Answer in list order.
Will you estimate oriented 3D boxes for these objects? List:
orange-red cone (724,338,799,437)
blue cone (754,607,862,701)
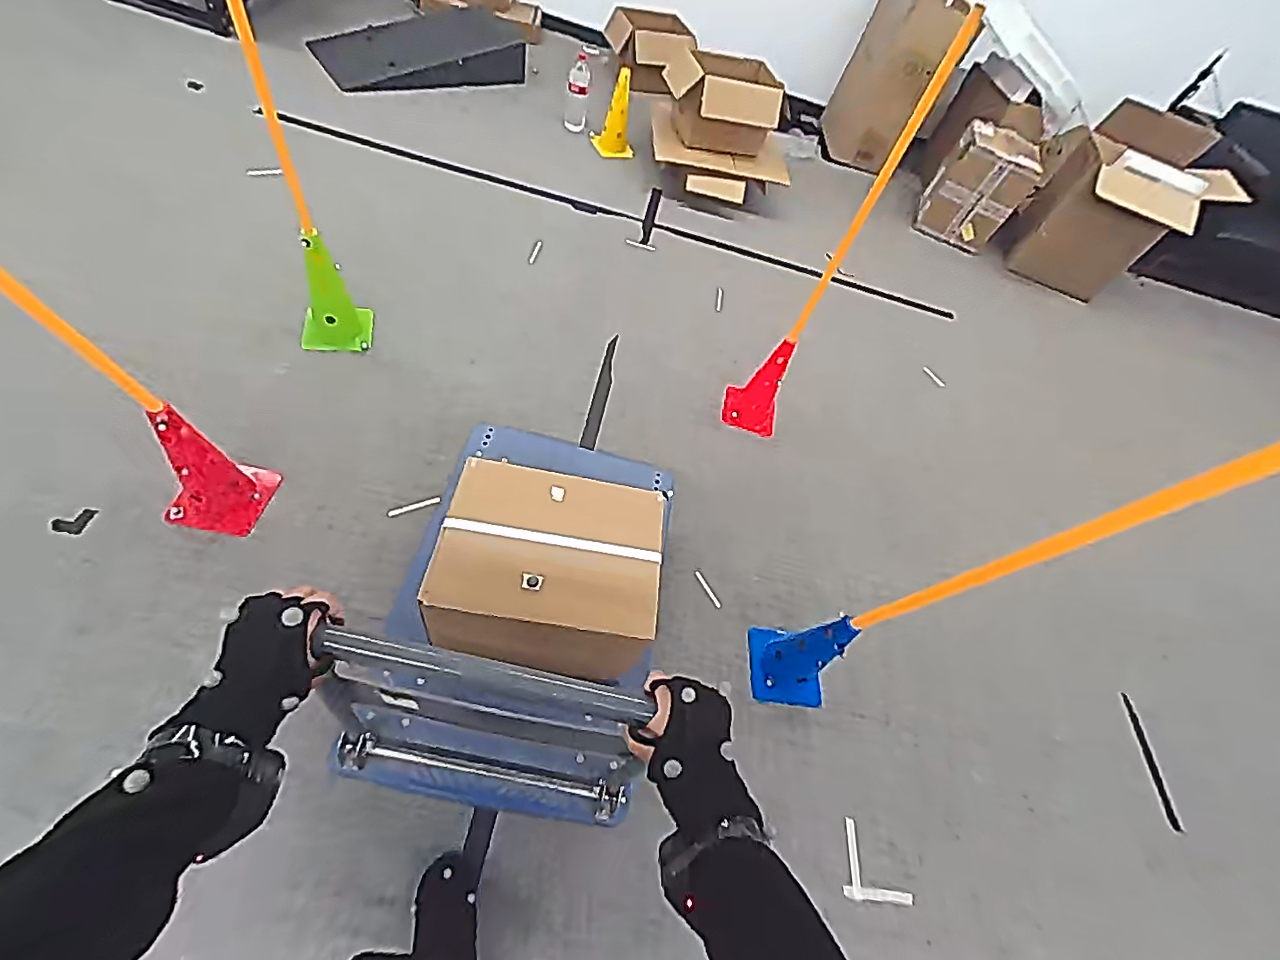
[{"bbox_3d":[0.453,-0.346,1.864,0.199,0.360,0.198,20,55,-3],"label":"orange-red cone"},{"bbox_3d":[0.447,0.417,1.367,0.193,0.380,0.192,11,54,-8],"label":"blue cone"}]
